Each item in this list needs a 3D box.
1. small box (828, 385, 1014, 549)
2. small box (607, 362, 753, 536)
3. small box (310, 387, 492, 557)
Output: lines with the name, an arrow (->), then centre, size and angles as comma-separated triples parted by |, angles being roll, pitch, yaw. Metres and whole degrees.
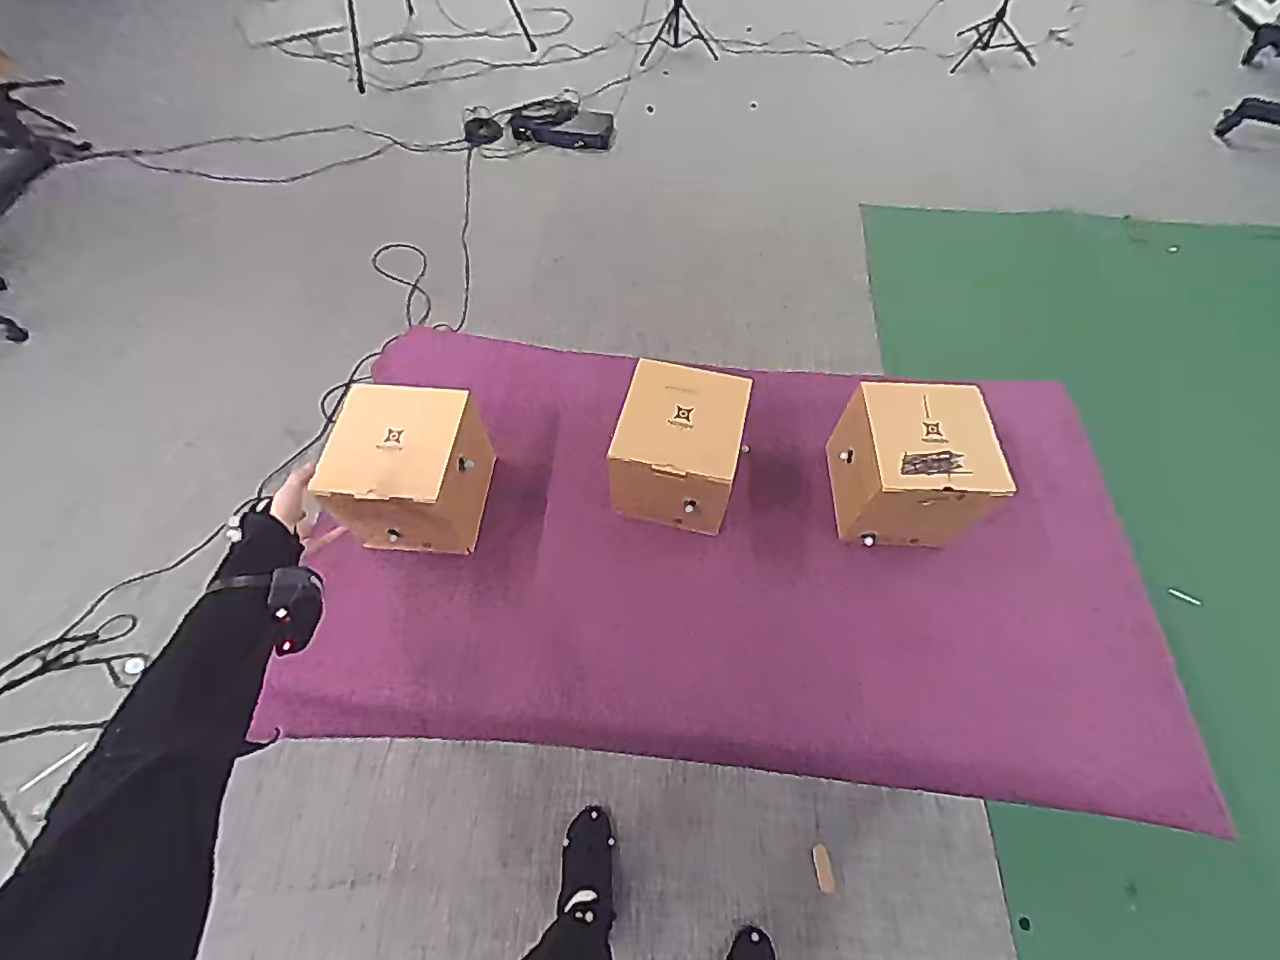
small box -> 0.382, -0.013, 0.773 | 0.168, 0.176, 0.179 | 3, 58, 1
small box -> 0.058, -0.039, 0.789 | 0.168, 0.176, 0.179 | 13, 60, 7
small box -> -0.320, -0.008, 0.770 | 0.168, 0.176, 0.179 | 4, 60, 2
